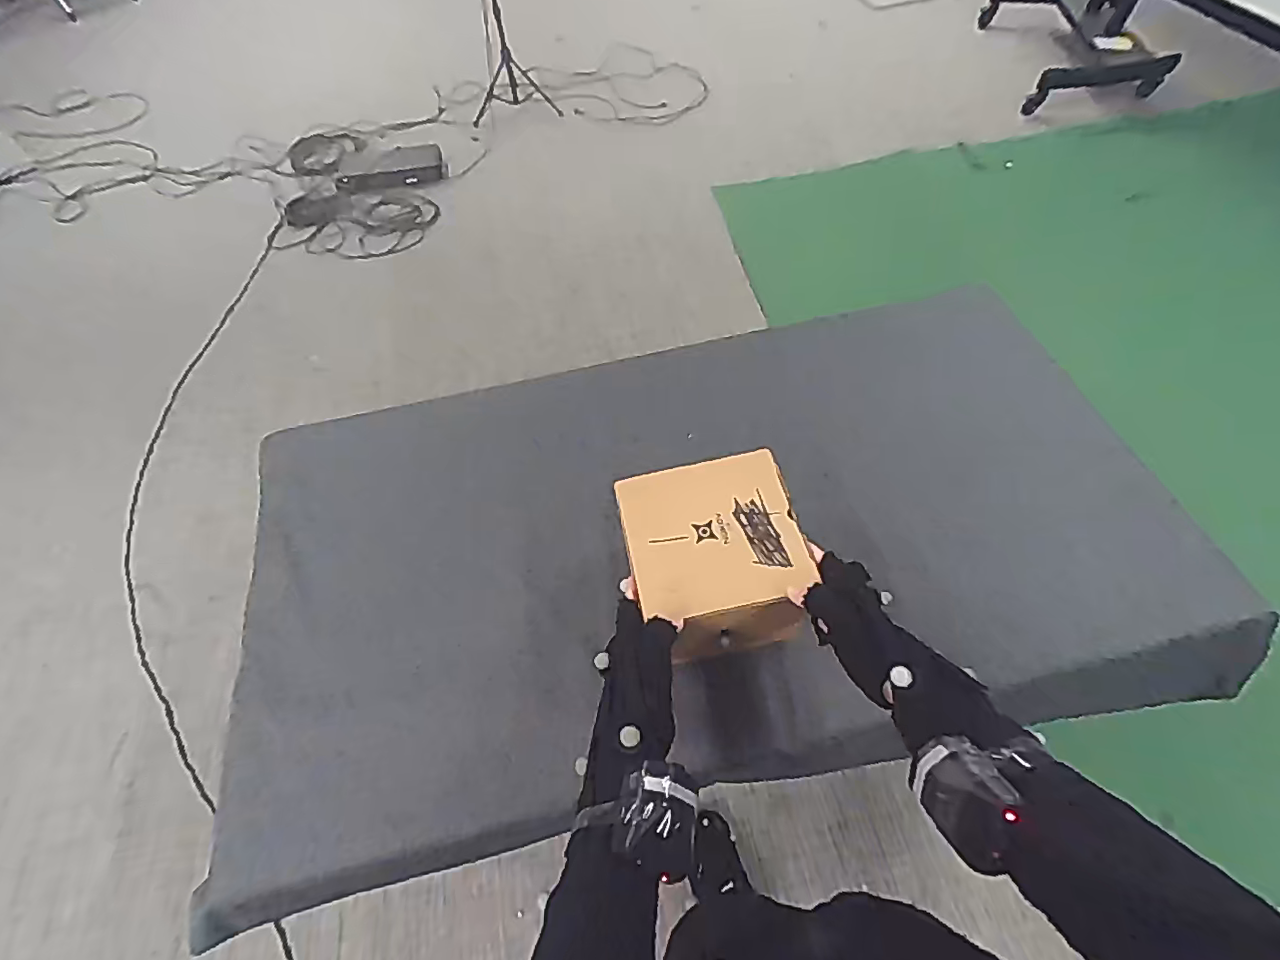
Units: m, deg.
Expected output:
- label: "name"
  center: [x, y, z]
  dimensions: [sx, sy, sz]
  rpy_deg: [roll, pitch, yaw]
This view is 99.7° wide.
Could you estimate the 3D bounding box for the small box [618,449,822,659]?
- label: "small box"
  center: [0.078, 0.090, 0.615]
  dimensions: [0.179, 0.176, 0.168]
  rpy_deg: [-11, 59, -3]
